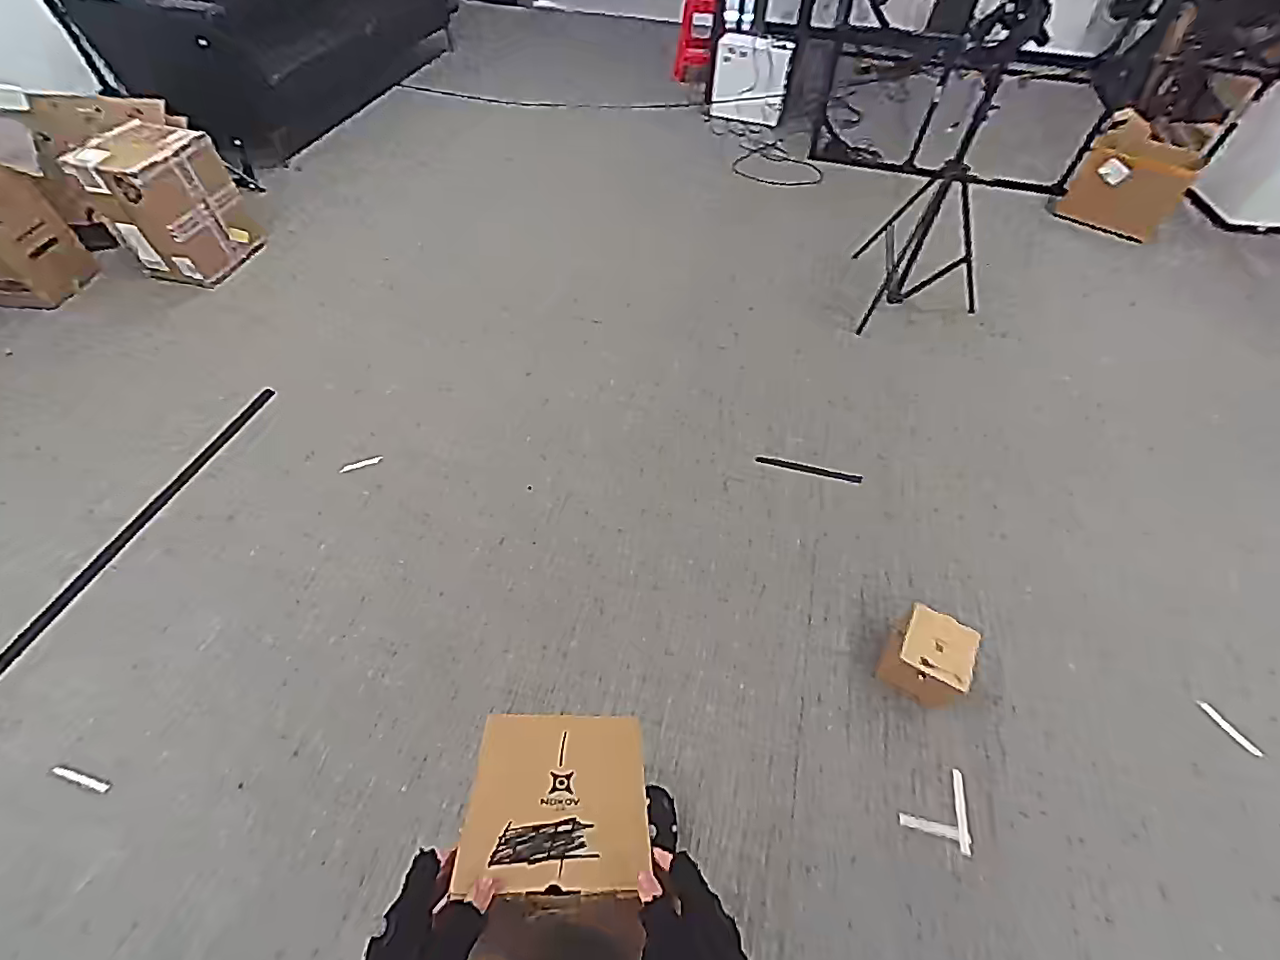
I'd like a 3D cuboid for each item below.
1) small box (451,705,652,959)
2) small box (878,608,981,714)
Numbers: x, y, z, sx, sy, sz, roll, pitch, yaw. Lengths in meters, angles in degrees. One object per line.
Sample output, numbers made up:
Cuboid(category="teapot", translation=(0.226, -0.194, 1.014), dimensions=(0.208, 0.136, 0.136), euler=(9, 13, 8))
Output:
Cuboid(category="small box", translation=(-0.083, 0.356, 0.544), dimensions=(0.168, 0.176, 0.179), euler=(4, 24, -7))
Cuboid(category="small box", translation=(0.748, 0.474, 1.409), dimensions=(0.168, 0.176, 0.179), euler=(26, 56, 17))
